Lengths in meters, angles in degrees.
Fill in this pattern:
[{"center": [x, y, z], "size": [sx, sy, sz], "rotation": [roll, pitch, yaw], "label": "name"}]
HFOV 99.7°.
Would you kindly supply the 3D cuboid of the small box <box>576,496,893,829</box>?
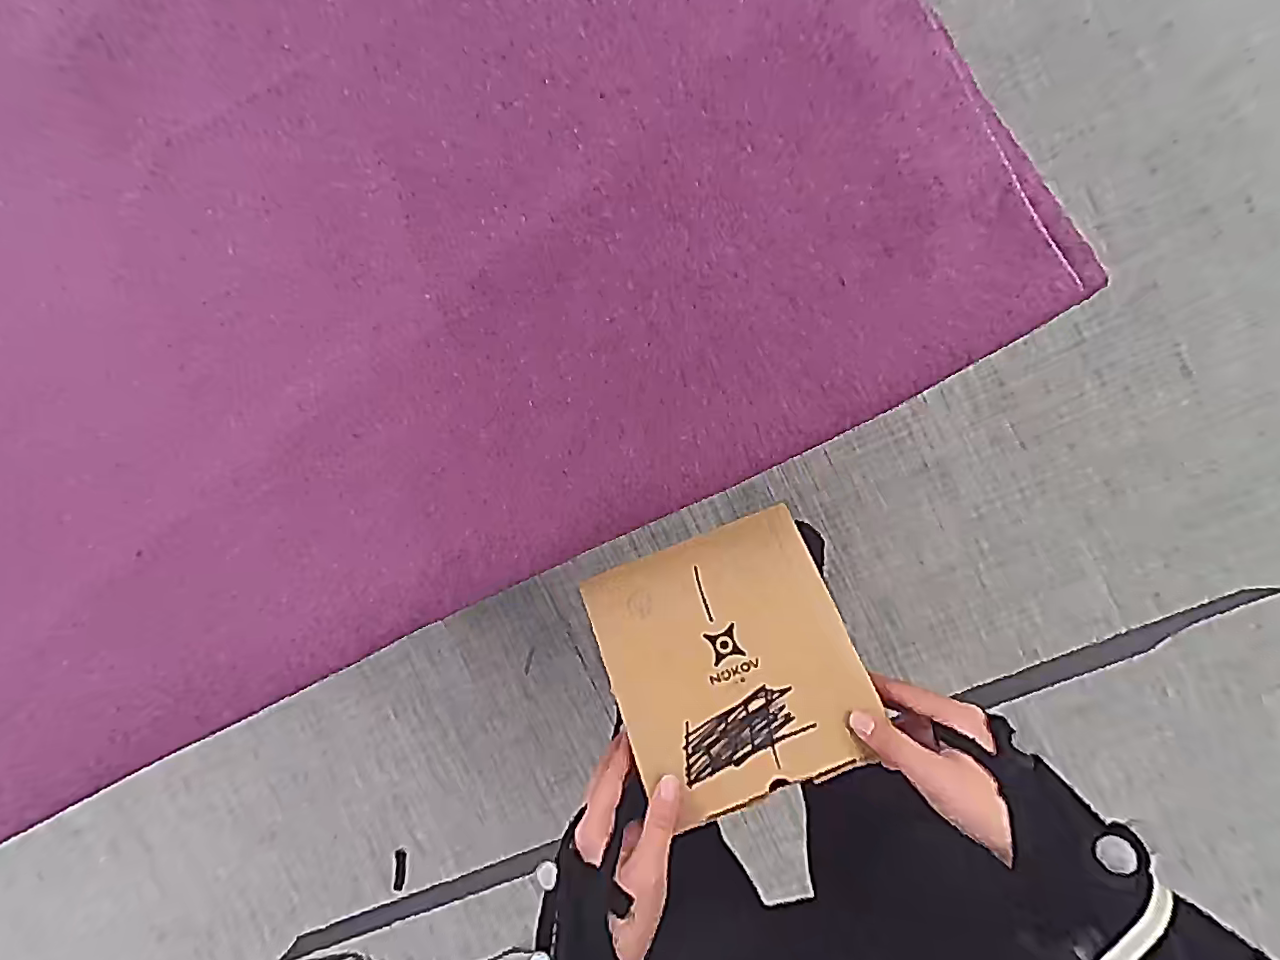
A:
[{"center": [0.067, 0.138, 0.440], "size": [0.168, 0.176, 0.179], "rotation": [-21, 70, 0], "label": "small box"}]
